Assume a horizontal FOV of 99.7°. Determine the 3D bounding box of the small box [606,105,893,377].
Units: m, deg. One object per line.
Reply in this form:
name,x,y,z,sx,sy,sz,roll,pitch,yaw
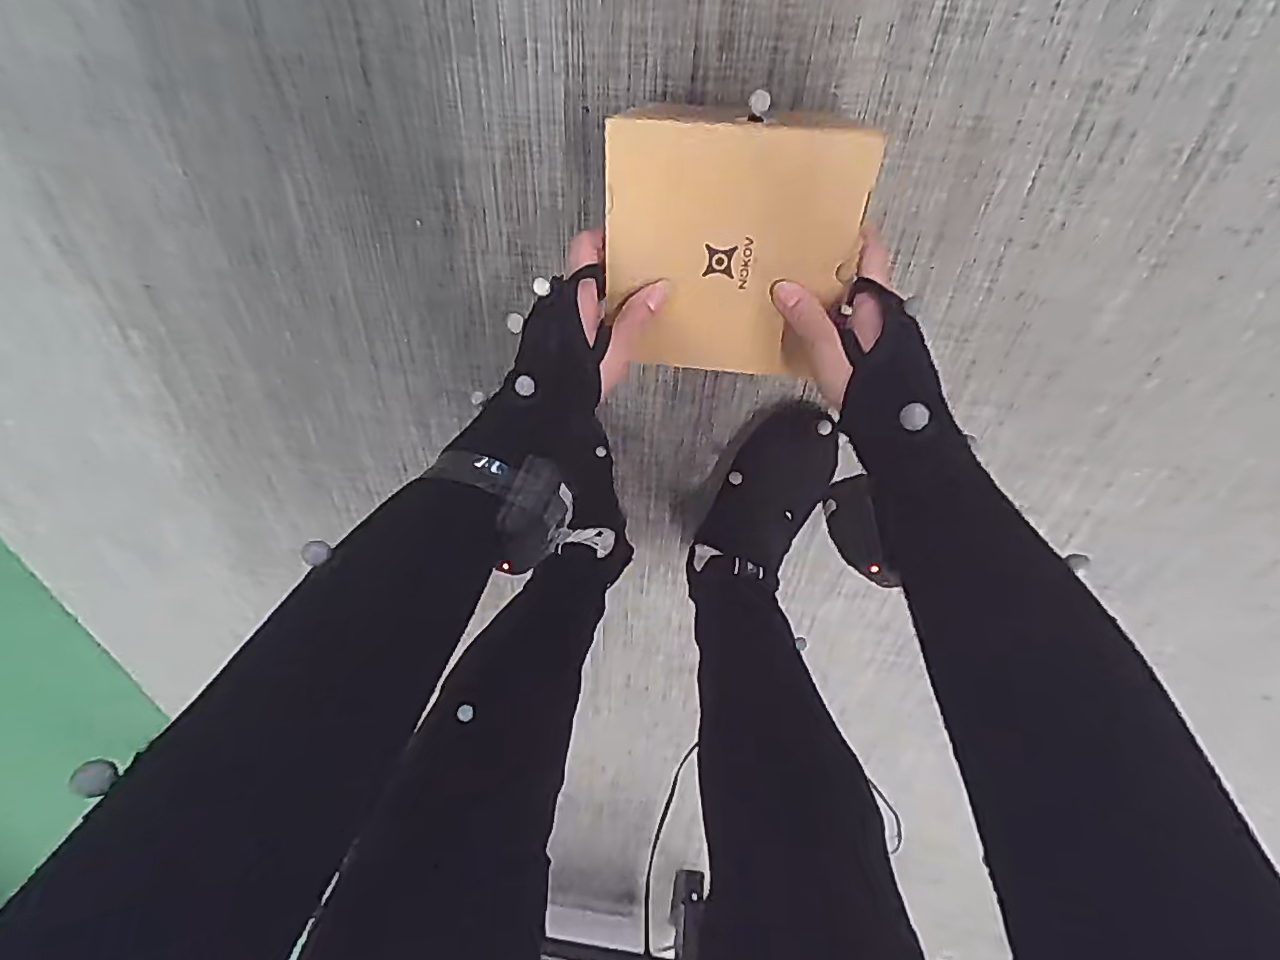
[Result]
small box,0.074,-0.202,0.443,0.179,0.176,0.168,6,127,4
